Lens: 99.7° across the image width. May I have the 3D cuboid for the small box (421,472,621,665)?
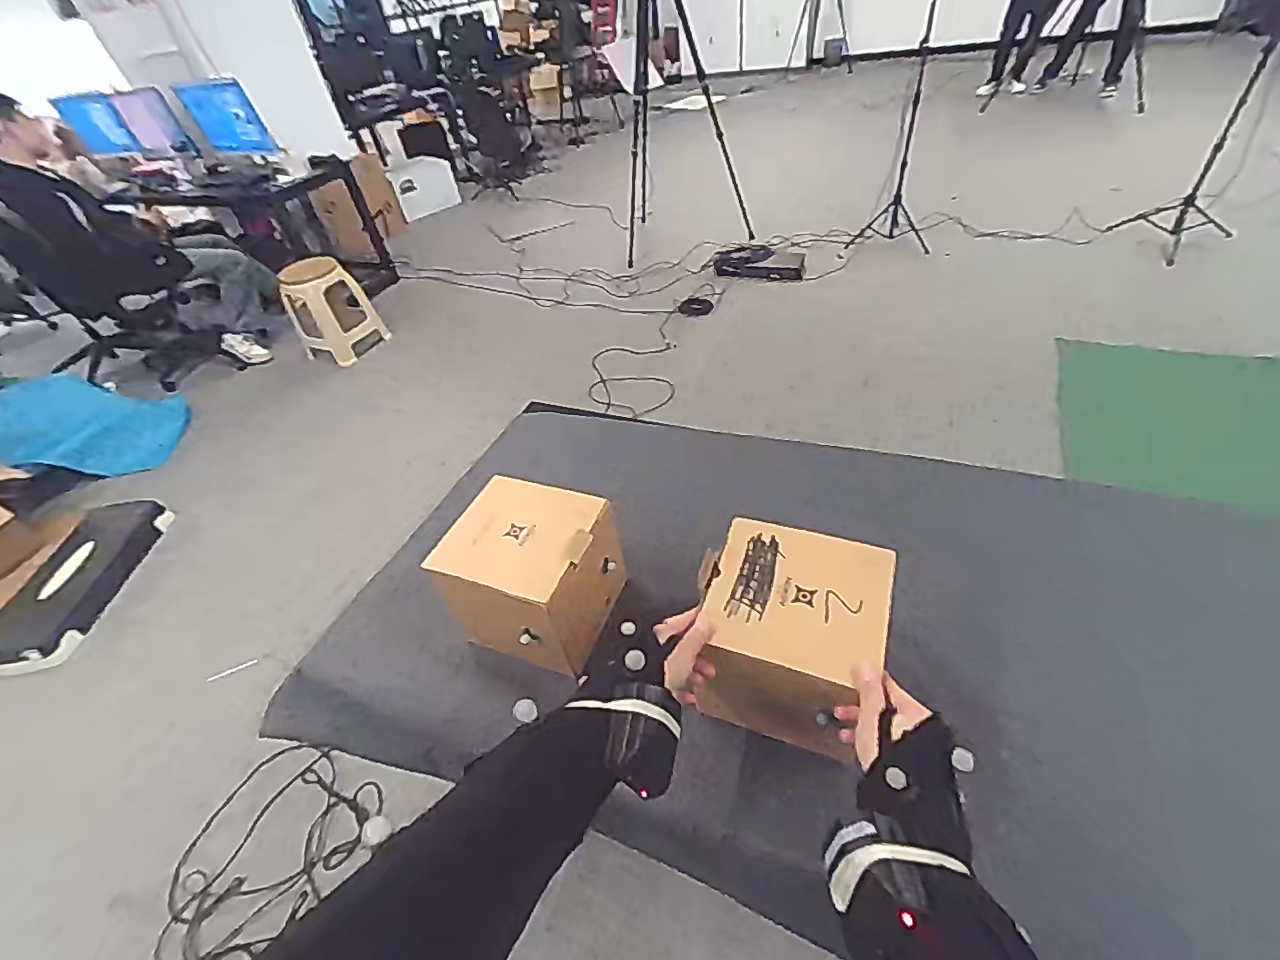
[{"bbox_3d":[-0.138,0.116,0.704,0.179,0.176,0.168,10,46,21],"label":"small box"}]
